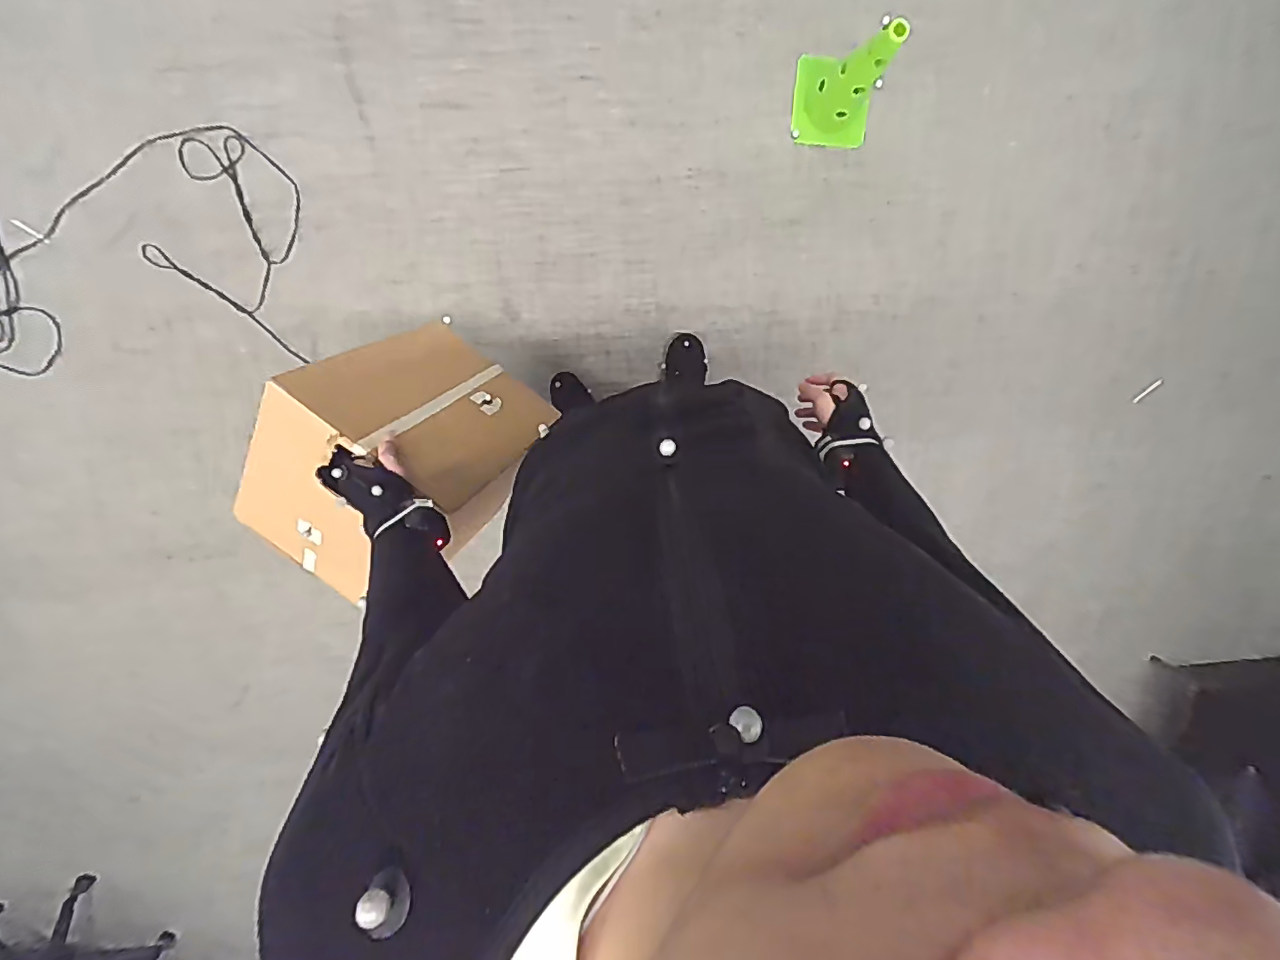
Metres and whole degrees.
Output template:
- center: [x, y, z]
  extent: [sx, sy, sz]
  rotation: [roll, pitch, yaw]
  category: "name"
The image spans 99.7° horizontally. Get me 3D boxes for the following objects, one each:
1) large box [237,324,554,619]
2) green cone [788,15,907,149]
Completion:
- center: [-0.423, -0.033, 0.997]
  extent: [0.320, 0.408, 0.320]
  rotation: [38, 121, -5]
  category: "large box"
- center: [0.501, -0.934, 1.239]
  extent: [0.200, 0.368, 0.202]
  rotation: [1, 104, -4]
  category: "green cone"
